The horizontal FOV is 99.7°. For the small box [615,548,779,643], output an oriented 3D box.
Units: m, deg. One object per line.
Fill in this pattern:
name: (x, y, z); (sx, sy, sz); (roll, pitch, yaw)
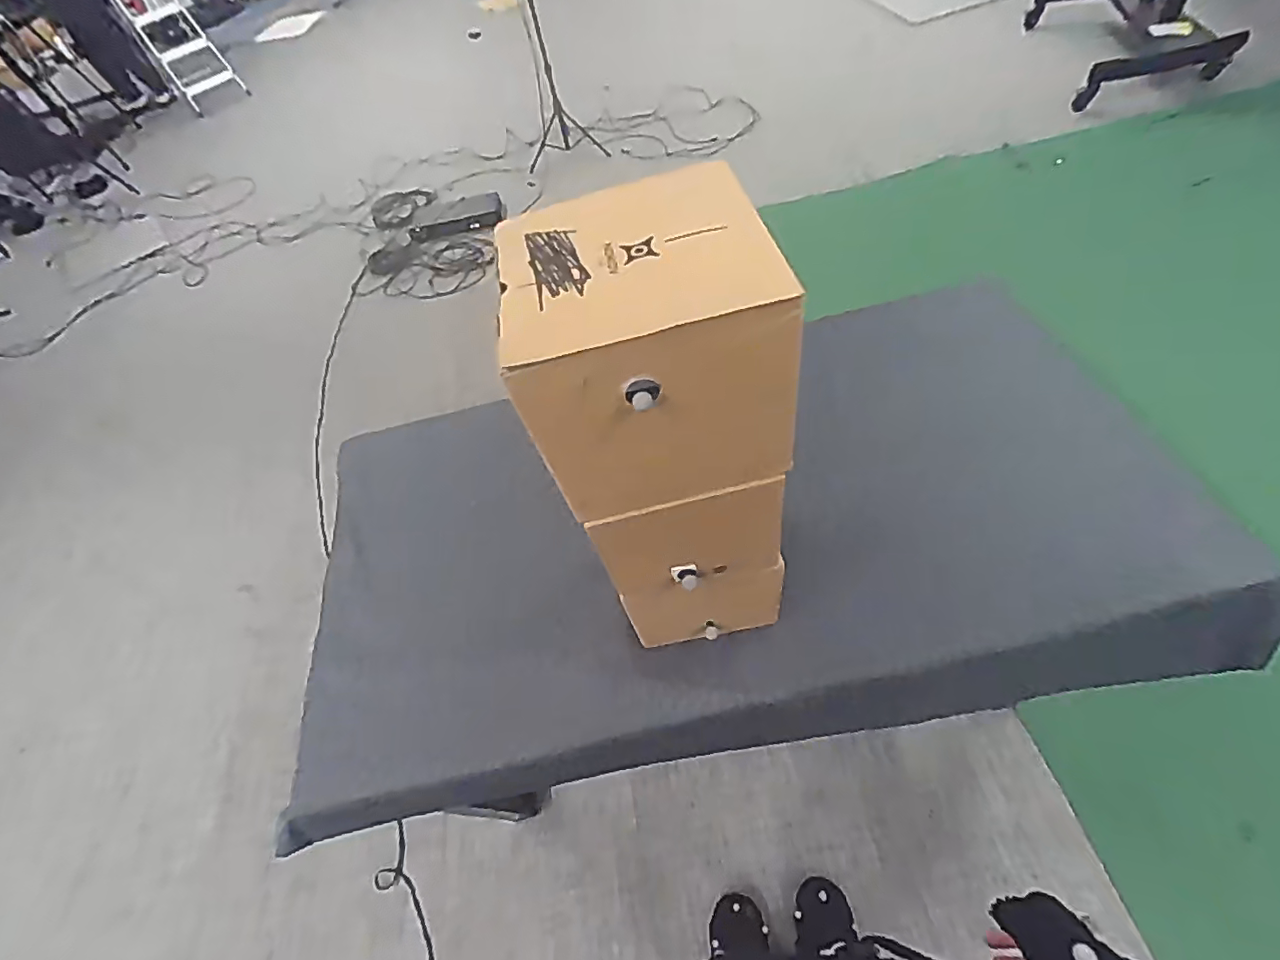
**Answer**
small box: (0.061, 0.088, 0.677); (0.179, 0.176, 0.168); (-12, 54, 2)

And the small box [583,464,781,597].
small box: (0.033, -0.006, 0.547); (0.168, 0.176, 0.179); (-15, 55, 3)

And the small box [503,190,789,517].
small box: (0.007, -0.087, 0.427); (0.179, 0.176, 0.168); (-14, 55, 3)
